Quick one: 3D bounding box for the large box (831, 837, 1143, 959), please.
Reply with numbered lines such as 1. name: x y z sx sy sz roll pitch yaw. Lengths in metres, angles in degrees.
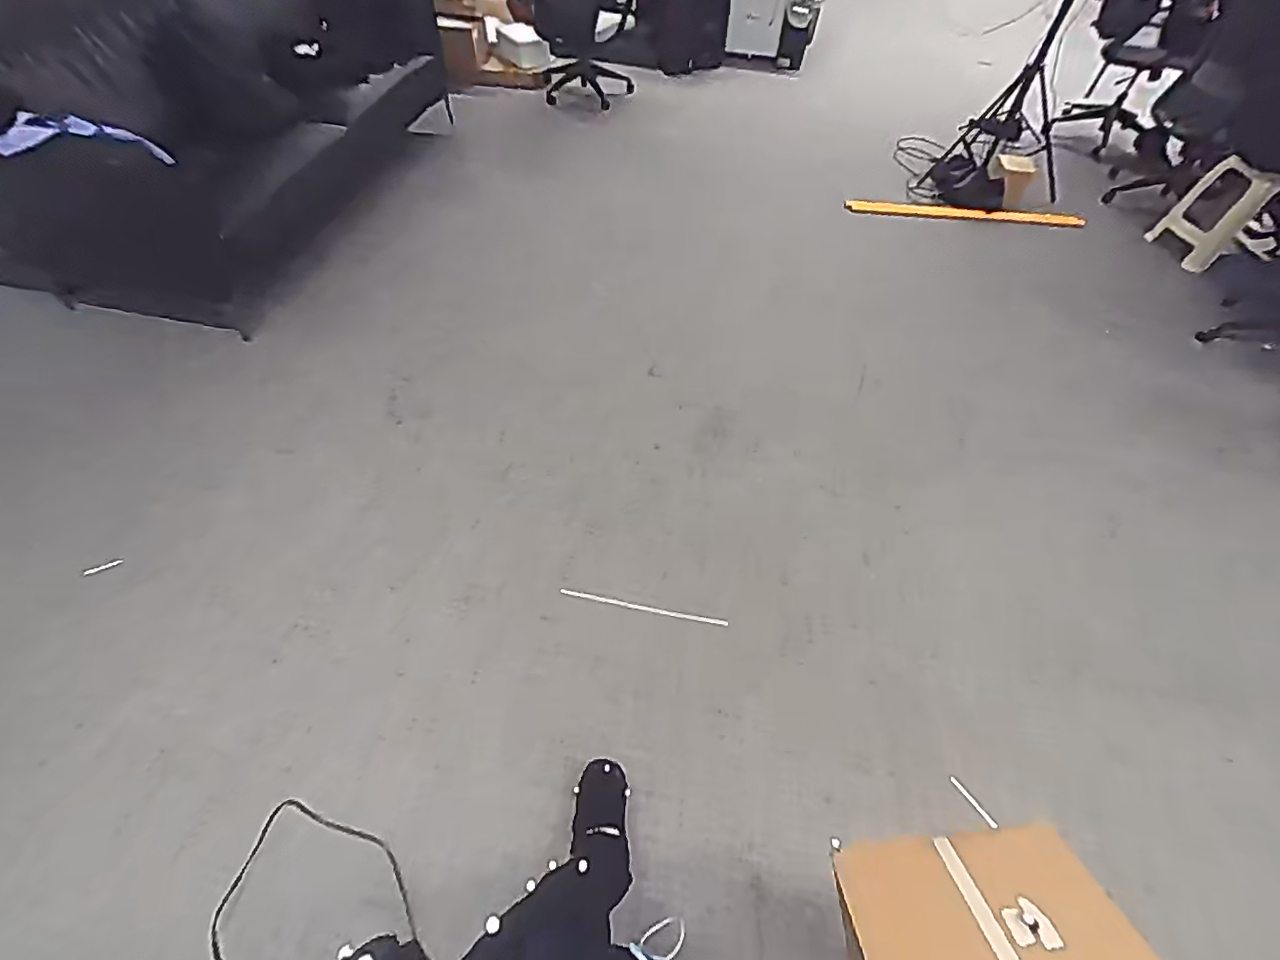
1. large box: 0.457 0.727 0.629 0.320 0.320 0.408 -10 10 5
